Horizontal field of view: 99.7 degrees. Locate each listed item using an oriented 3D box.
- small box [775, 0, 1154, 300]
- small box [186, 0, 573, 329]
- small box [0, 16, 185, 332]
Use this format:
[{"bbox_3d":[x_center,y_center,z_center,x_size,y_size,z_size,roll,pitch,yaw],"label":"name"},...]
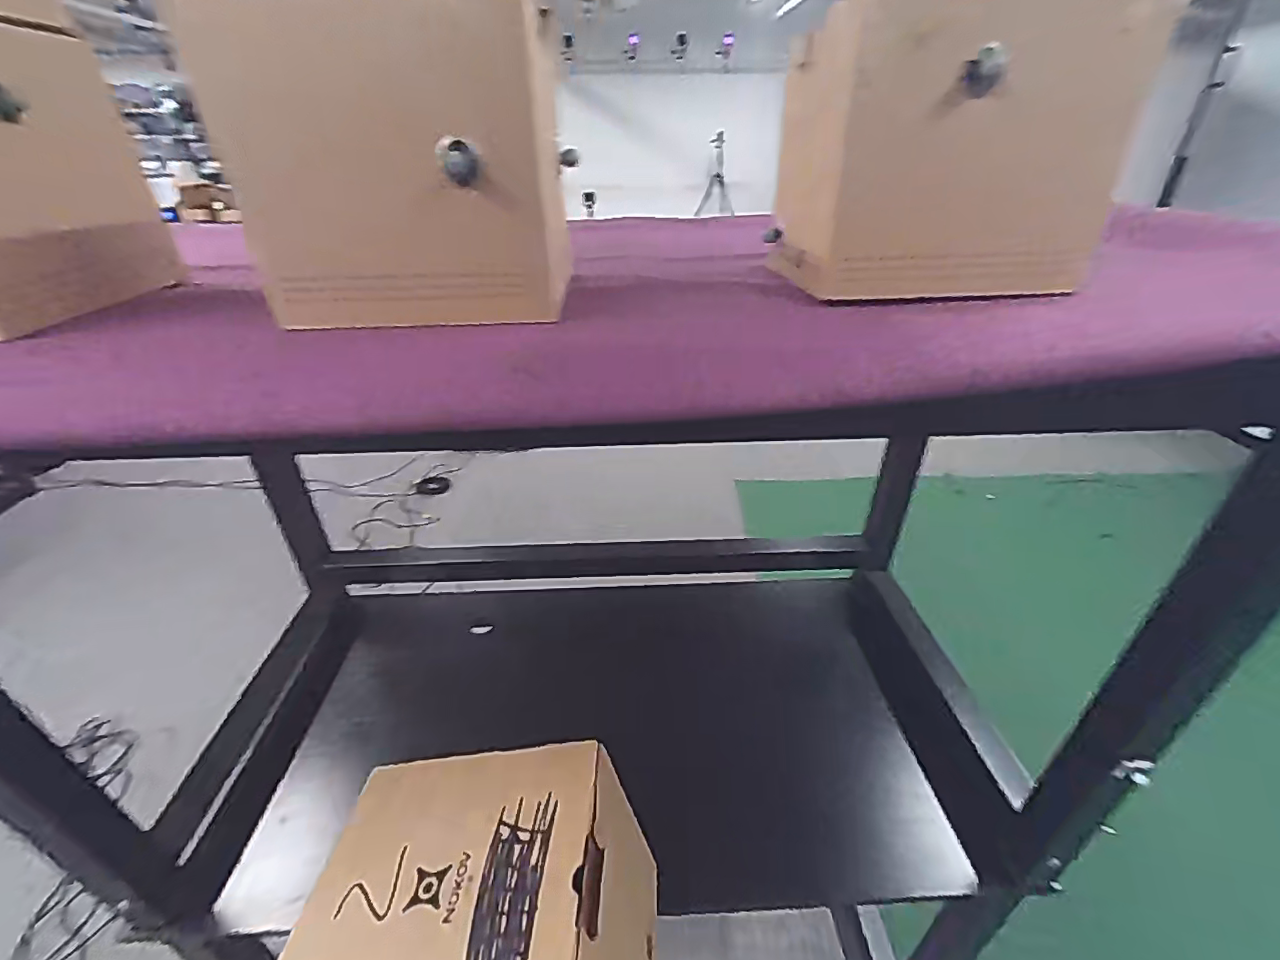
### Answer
[{"bbox_3d":[0.206,-0.235,0.408,0.179,0.176,0.168,-1,29,-1],"label":"small box"},{"bbox_3d":[-0.141,-0.211,0.377,0.179,0.176,0.168,-3,31,-3],"label":"small box"},{"bbox_3d":[-0.461,-0.201,0.357,0.168,0.176,0.179,-1,32,-4],"label":"small box"}]
